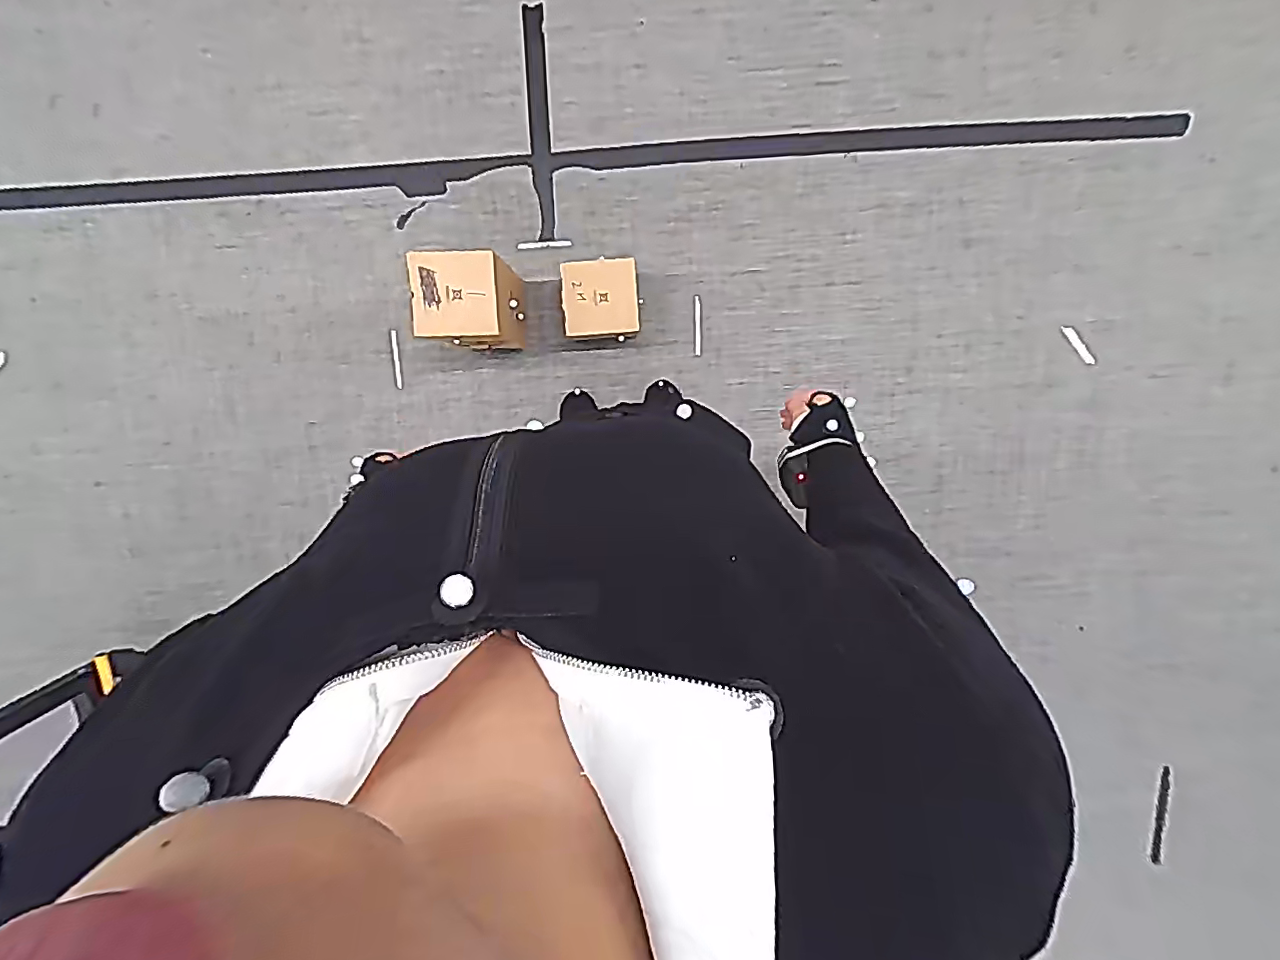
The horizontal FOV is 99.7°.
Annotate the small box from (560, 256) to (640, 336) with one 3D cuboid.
[{"bbox_3d":[-0.093,-0.443,1.320,0.179,0.176,0.168,-4,102,0],"label":"small box"}]

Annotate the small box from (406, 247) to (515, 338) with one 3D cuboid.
[{"bbox_3d":[-0.376,-0.393,1.158,0.179,0.176,0.168,-1,102,-1],"label":"small box"}]

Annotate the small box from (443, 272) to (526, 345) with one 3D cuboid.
[{"bbox_3d":[-0.379,-0.420,1.322,0.168,0.176,0.179,-1,102,0],"label":"small box"}]
